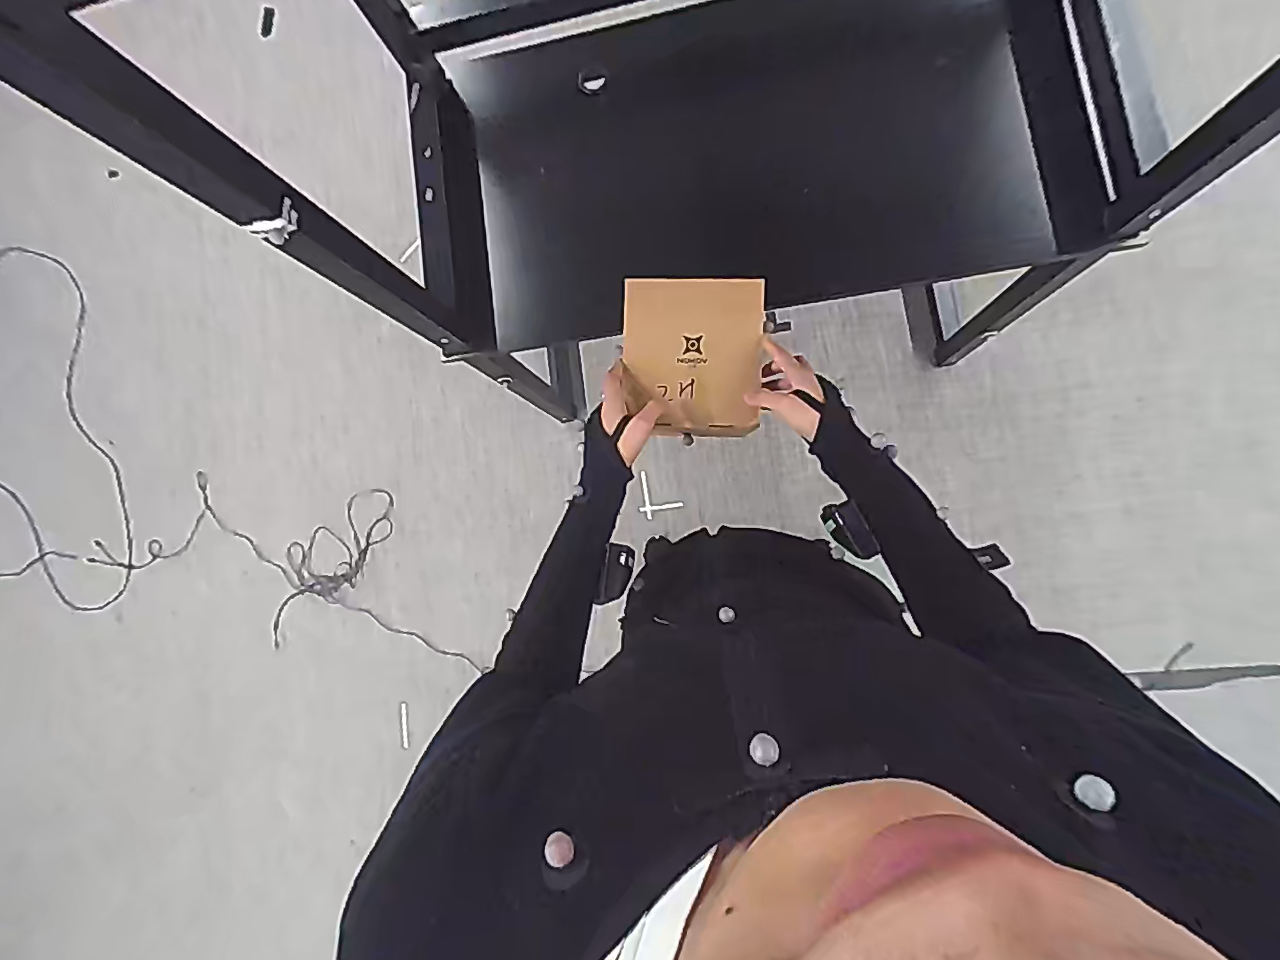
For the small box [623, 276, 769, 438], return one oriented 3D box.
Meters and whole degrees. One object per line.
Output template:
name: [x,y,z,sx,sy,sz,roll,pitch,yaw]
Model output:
small box: [0.070,-0.151,0.711,0.168,0.176,0.179,2,91,5]
